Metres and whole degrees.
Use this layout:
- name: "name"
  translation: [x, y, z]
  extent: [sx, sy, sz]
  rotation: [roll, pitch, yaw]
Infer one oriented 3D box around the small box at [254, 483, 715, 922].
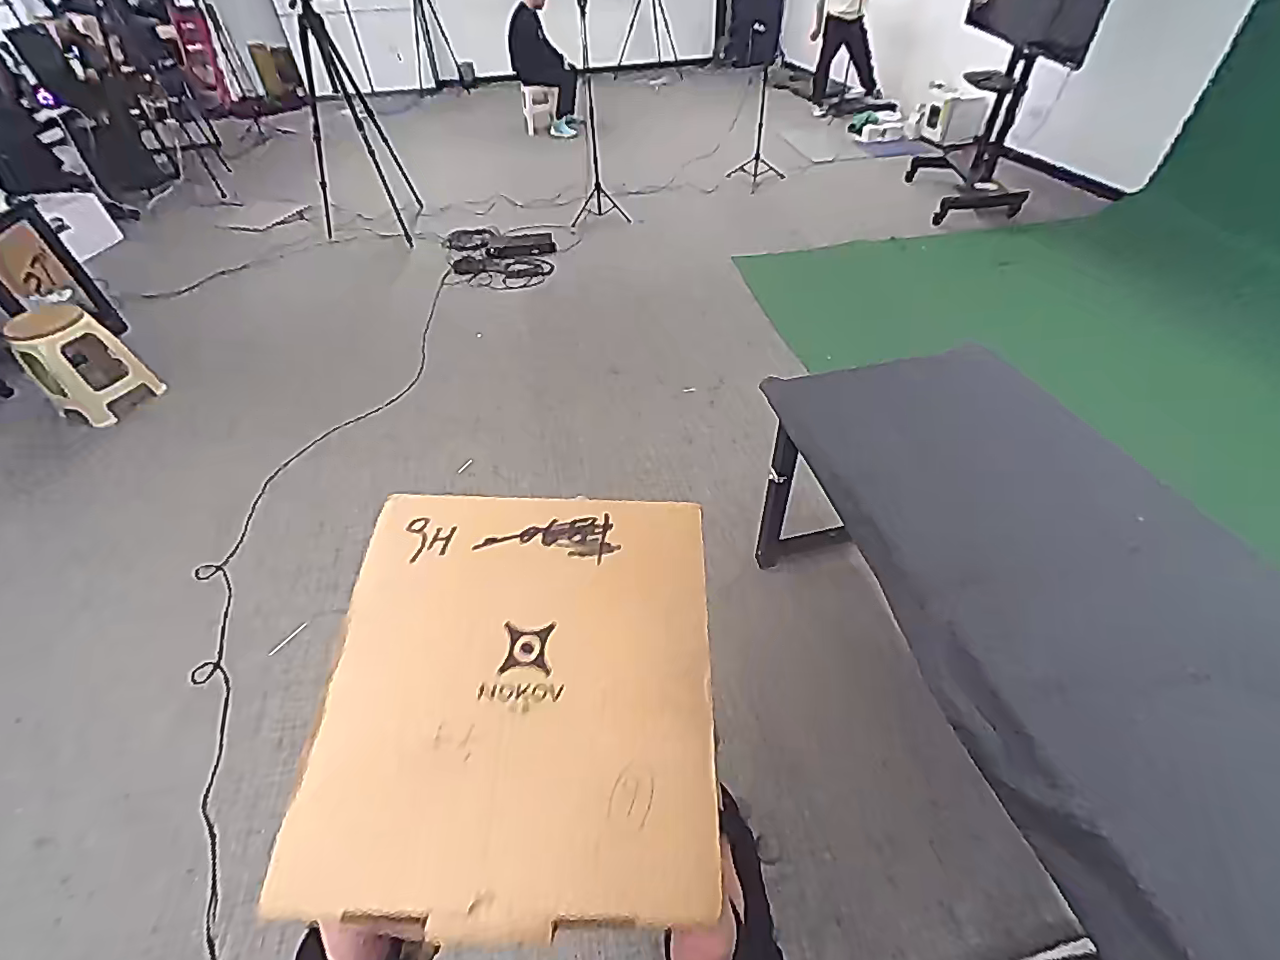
- name: "small box"
  translation: [-0.056, 0.122, 0.301]
  extent: [0.168, 0.176, 0.179]
  rotation: [3, 56, -3]
